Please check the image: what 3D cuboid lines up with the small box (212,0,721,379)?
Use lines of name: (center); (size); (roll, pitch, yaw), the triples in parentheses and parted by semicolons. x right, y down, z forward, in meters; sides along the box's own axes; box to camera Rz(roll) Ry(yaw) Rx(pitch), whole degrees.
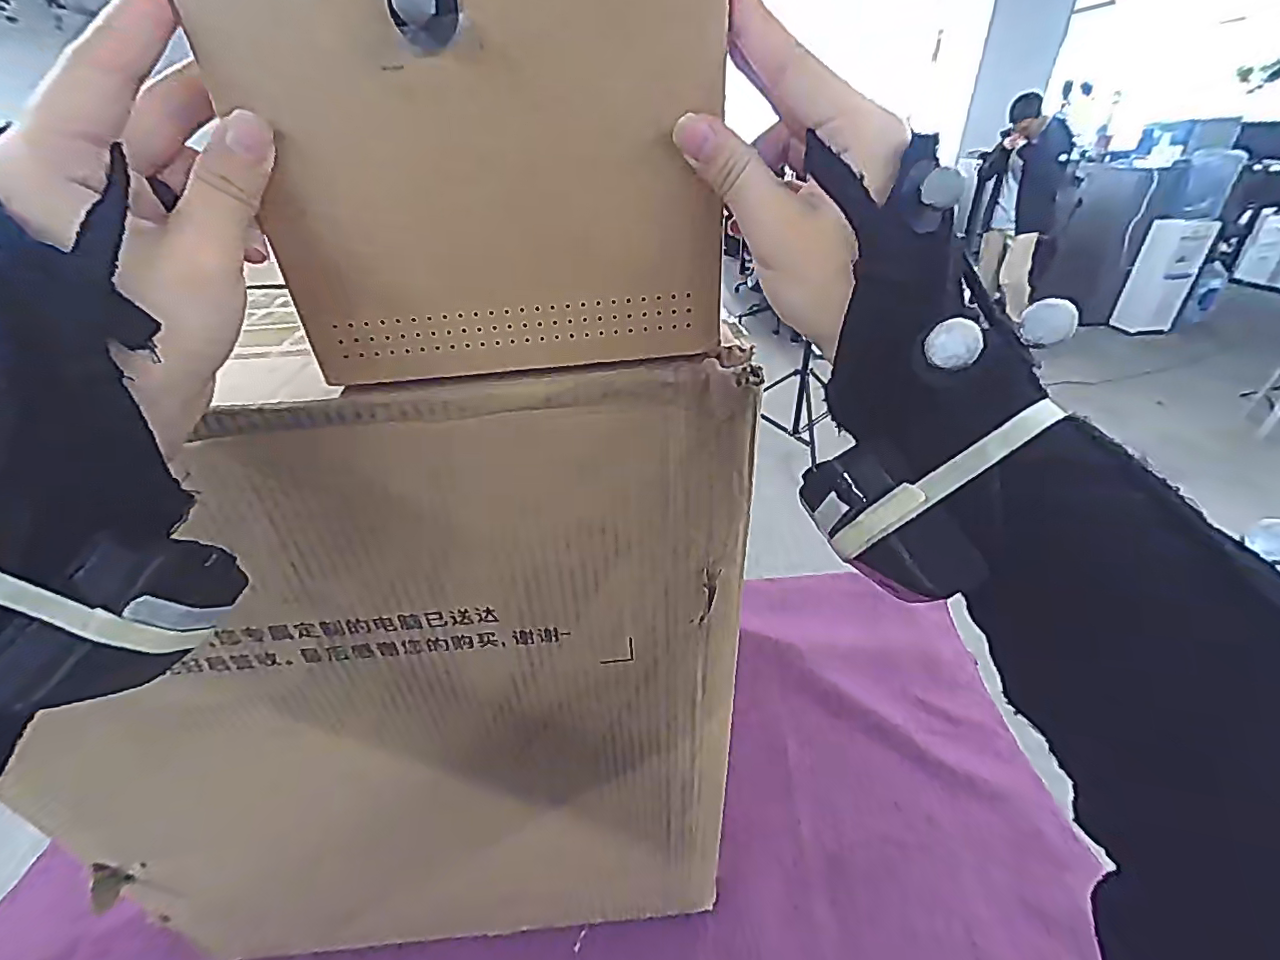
small box: (-0.060, -0.157, 0.265); (0.179, 0.176, 0.168); (-6, 33, -3)
